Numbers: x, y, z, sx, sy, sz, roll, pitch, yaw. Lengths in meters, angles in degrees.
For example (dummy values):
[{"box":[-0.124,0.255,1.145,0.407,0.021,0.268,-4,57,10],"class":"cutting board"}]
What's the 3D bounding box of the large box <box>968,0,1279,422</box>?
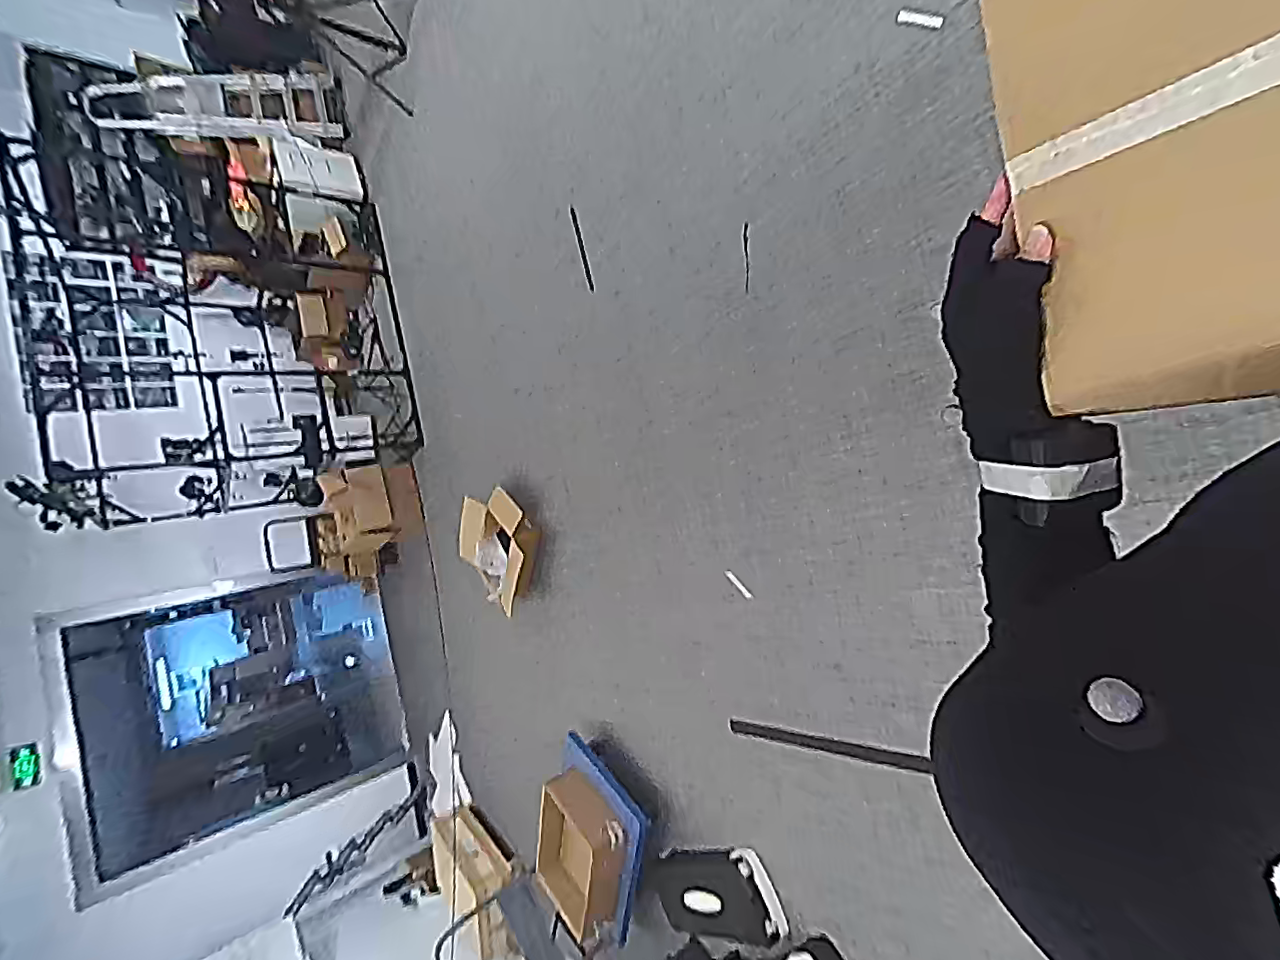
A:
[{"box":[0.469,-0.238,0.272,0.408,0.320,0.320,-5,100,56],"class":"large box"}]
